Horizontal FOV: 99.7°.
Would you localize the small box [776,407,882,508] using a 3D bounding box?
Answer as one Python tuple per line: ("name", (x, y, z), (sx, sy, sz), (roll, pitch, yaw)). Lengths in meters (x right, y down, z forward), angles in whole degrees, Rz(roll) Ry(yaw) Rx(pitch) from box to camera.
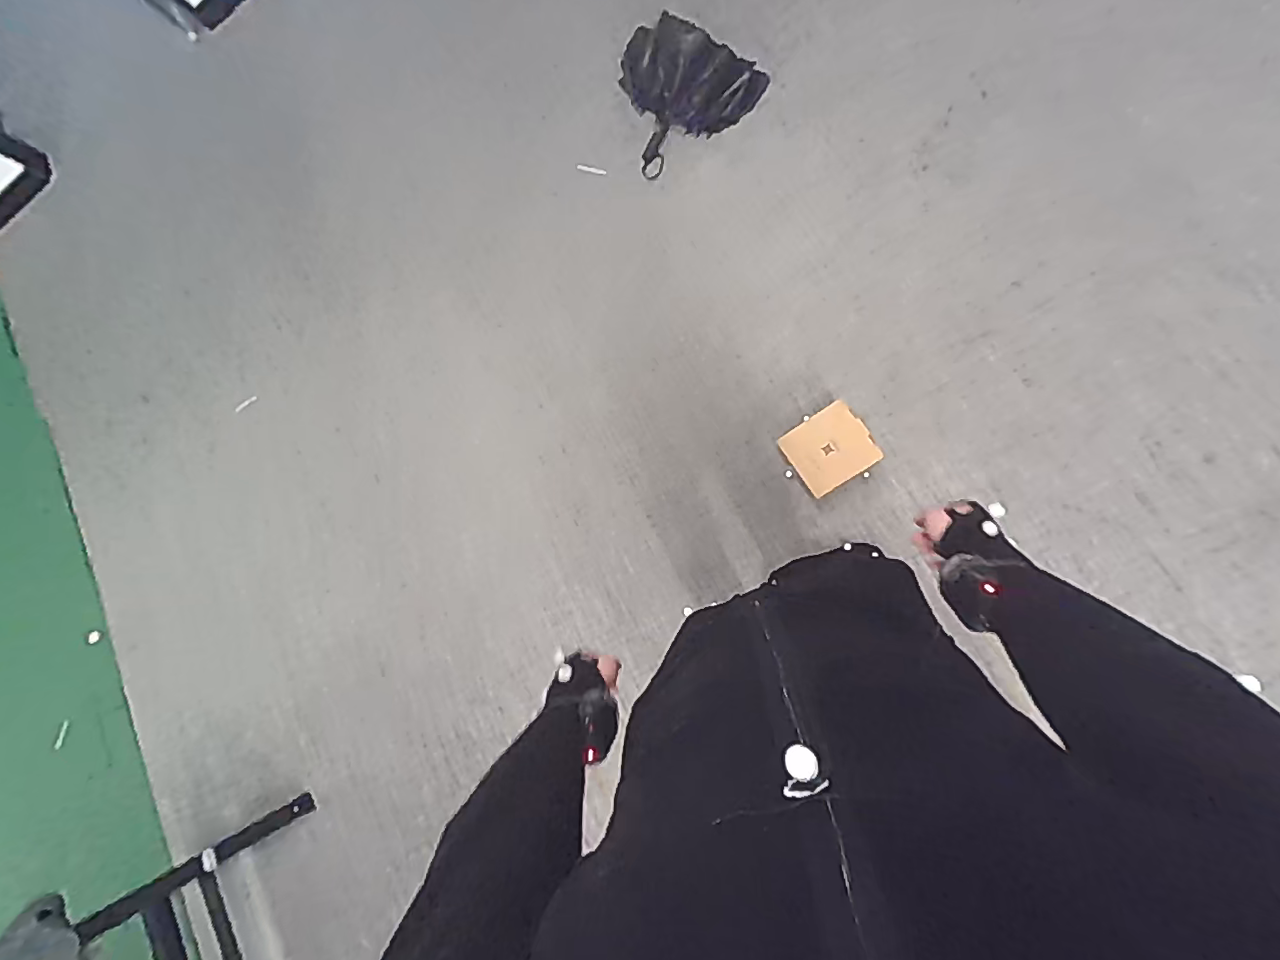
("small box", (0.445, -0.047, 1.298), (0.179, 0.176, 0.168), (-34, 76, 10))
